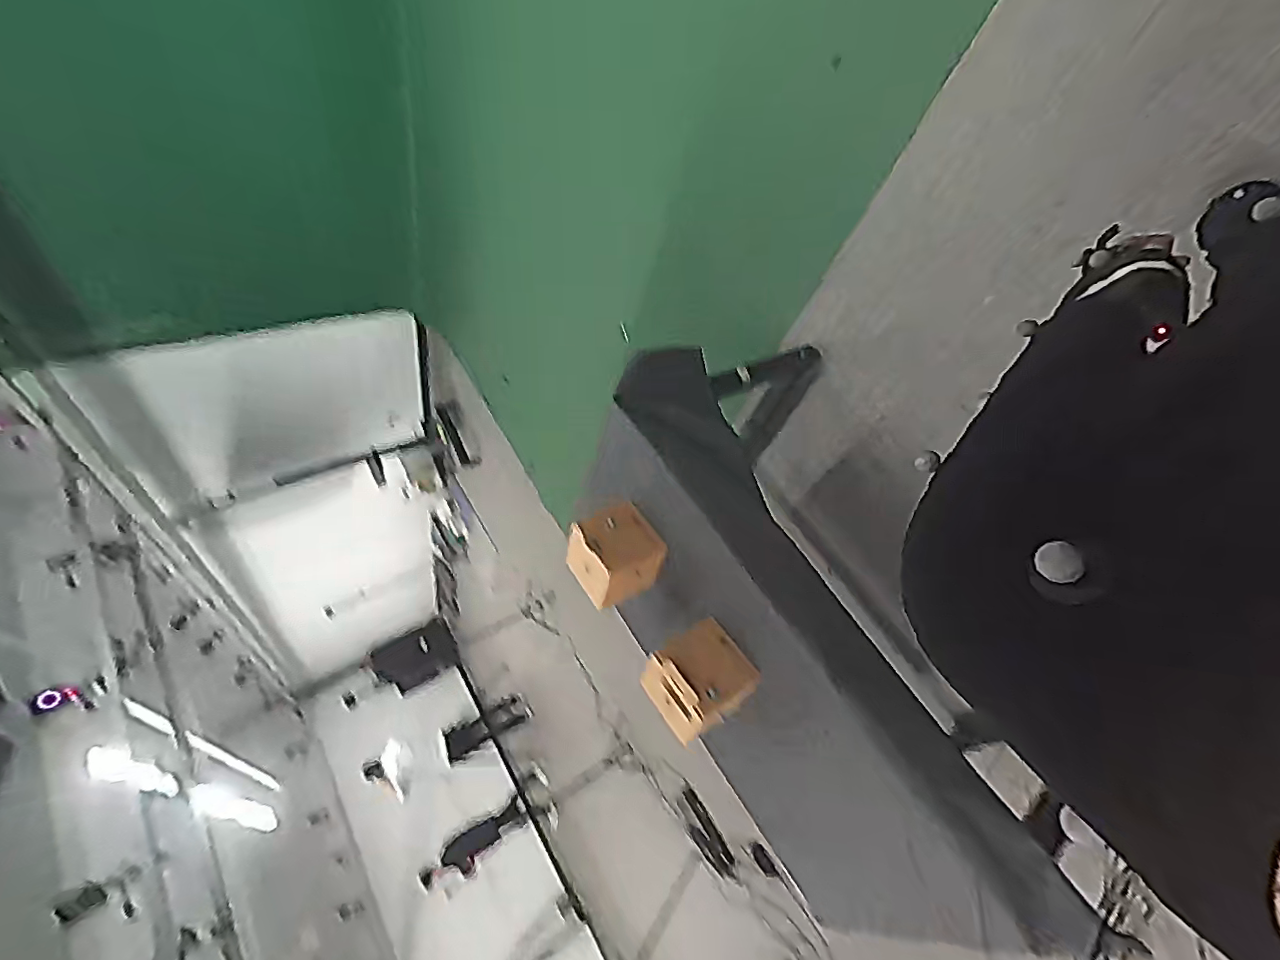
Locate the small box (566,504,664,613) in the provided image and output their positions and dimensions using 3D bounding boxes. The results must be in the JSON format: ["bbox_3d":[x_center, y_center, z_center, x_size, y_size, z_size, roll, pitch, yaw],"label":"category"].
[{"bbox_3d":[-0.062,0.187,1.322,0.168,0.176,0.179,50,146,28],"label":"small box"}]
